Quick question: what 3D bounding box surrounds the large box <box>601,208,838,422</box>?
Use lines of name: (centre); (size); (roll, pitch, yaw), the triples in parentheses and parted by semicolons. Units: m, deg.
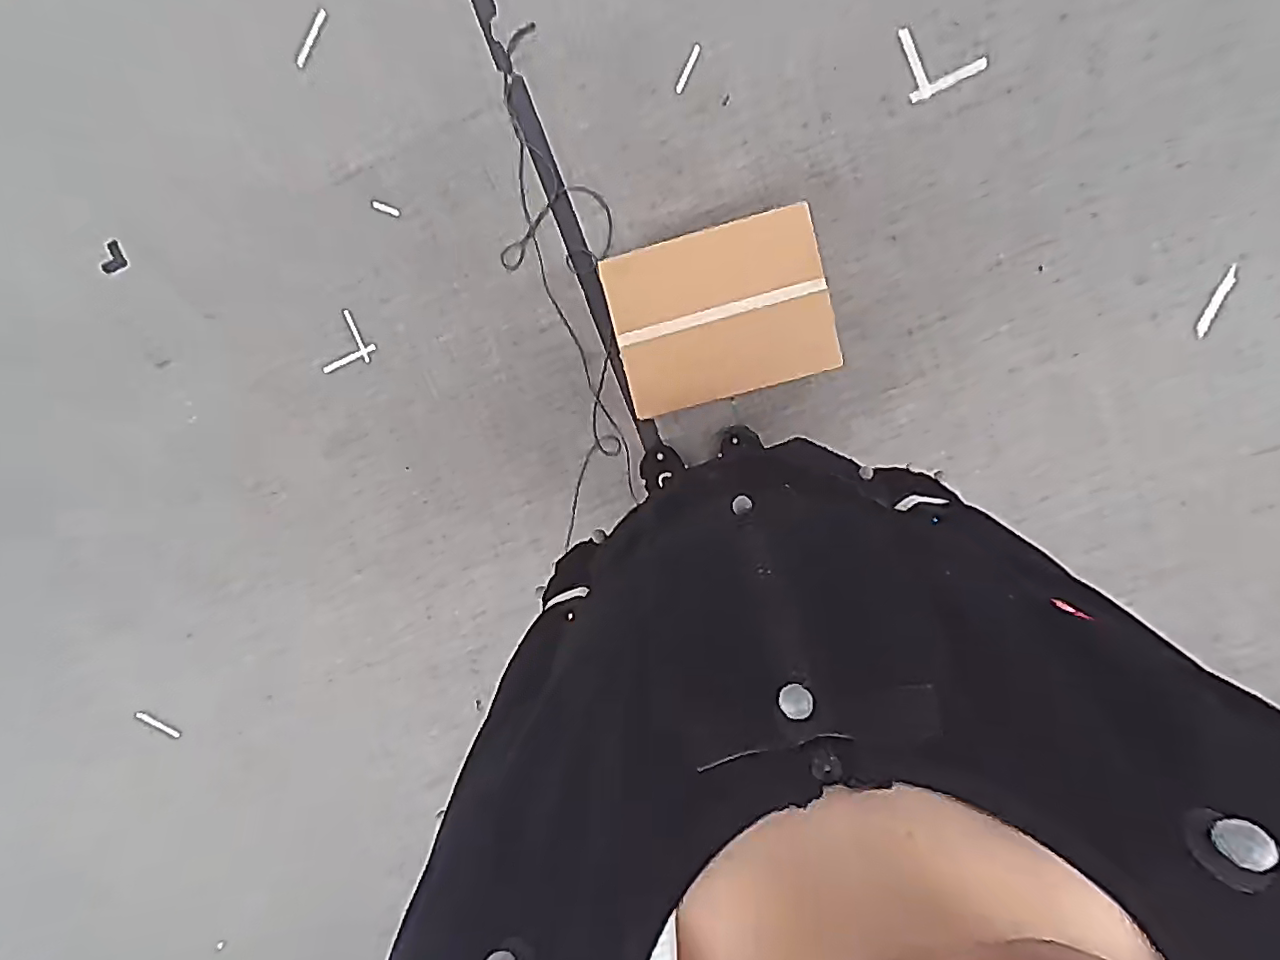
large box: (0.161, -0.327, 1.185); (0.408, 0.320, 0.320); (-14, 96, 5)
